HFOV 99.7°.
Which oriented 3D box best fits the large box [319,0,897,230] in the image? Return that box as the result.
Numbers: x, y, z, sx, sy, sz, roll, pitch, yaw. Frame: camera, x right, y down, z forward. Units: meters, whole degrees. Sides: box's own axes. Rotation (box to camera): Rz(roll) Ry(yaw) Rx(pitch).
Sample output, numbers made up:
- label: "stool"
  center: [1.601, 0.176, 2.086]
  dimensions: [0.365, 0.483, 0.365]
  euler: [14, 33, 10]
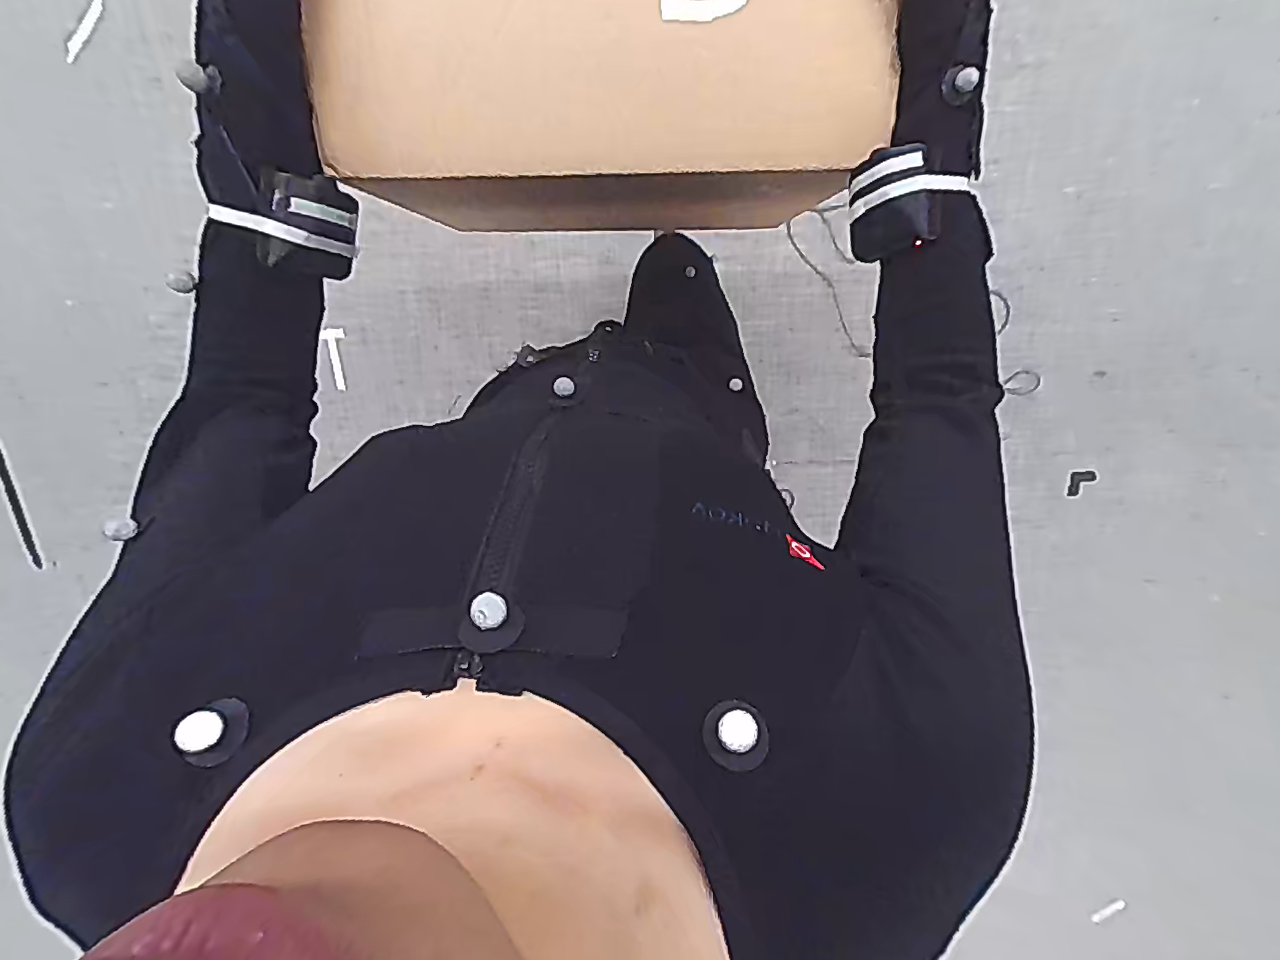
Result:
- label: "large box"
  center: [-0.026, -0.426, 0.495]
  dimensions: [0.408, 0.320, 0.320]
  euler: [-2, 108, -1]
